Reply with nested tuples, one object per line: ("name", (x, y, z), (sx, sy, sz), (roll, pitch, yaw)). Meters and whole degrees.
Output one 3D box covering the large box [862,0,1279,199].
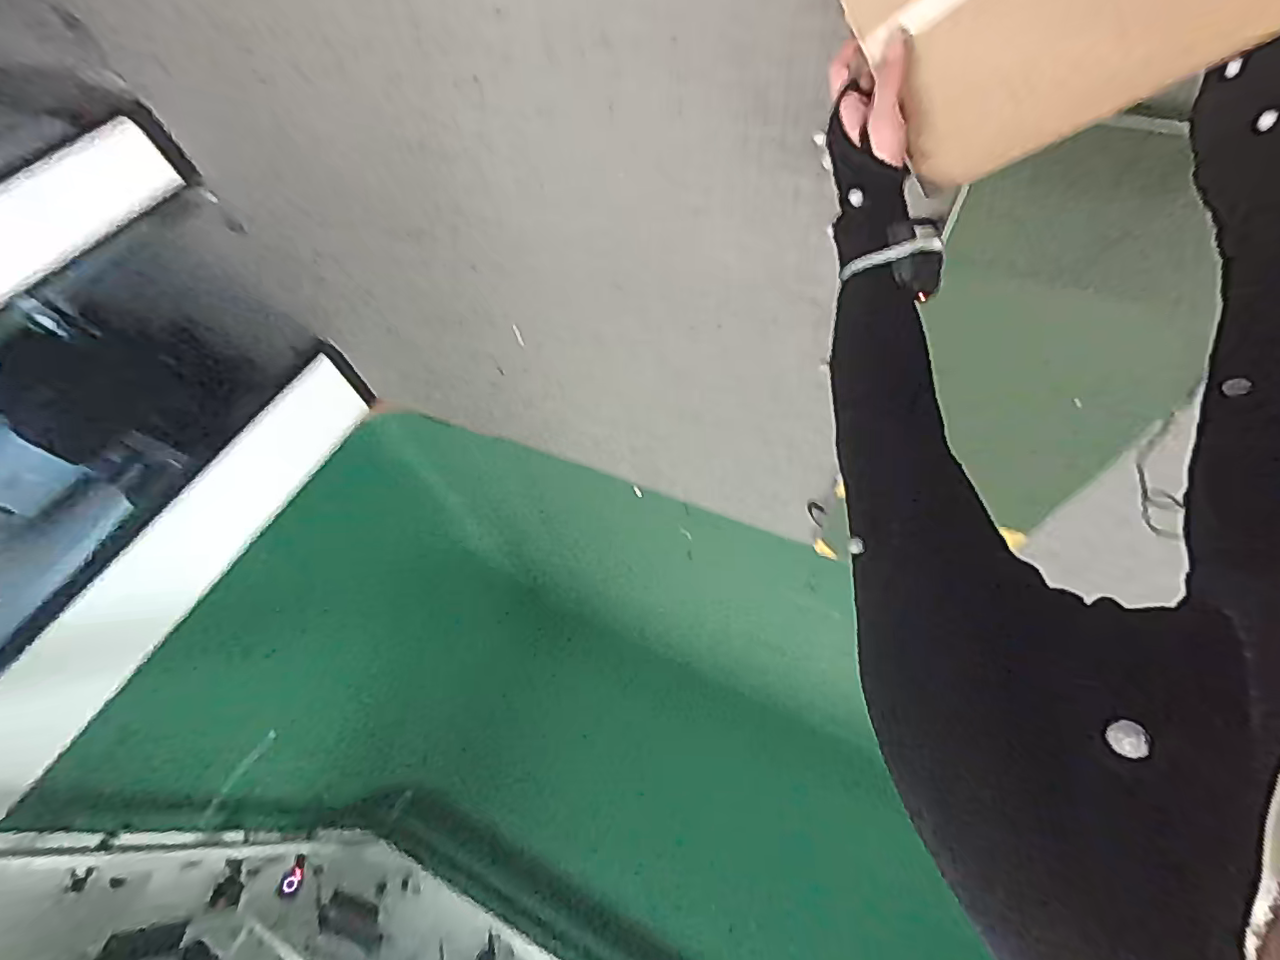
("large box", (0.423, -0.530, 0.445), (0.408, 0.320, 0.320), (-12, 128, 45))
